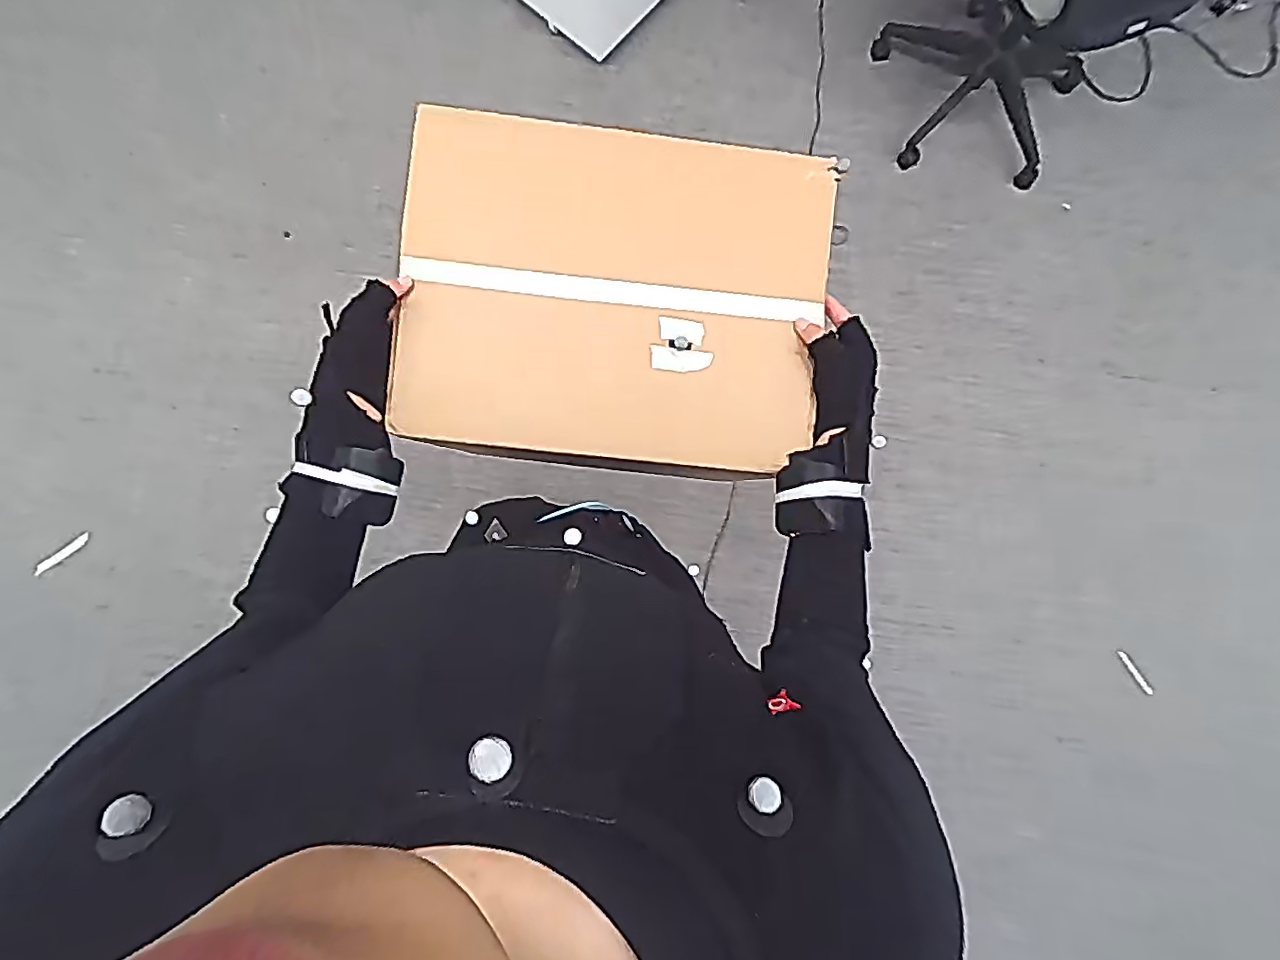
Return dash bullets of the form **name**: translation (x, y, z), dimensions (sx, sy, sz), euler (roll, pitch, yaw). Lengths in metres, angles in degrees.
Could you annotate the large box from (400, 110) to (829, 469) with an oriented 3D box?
- **large box**: translation (-0.031, -0.187, 0.678), dimensions (0.408, 0.320, 0.320), euler (6, 90, -4)
